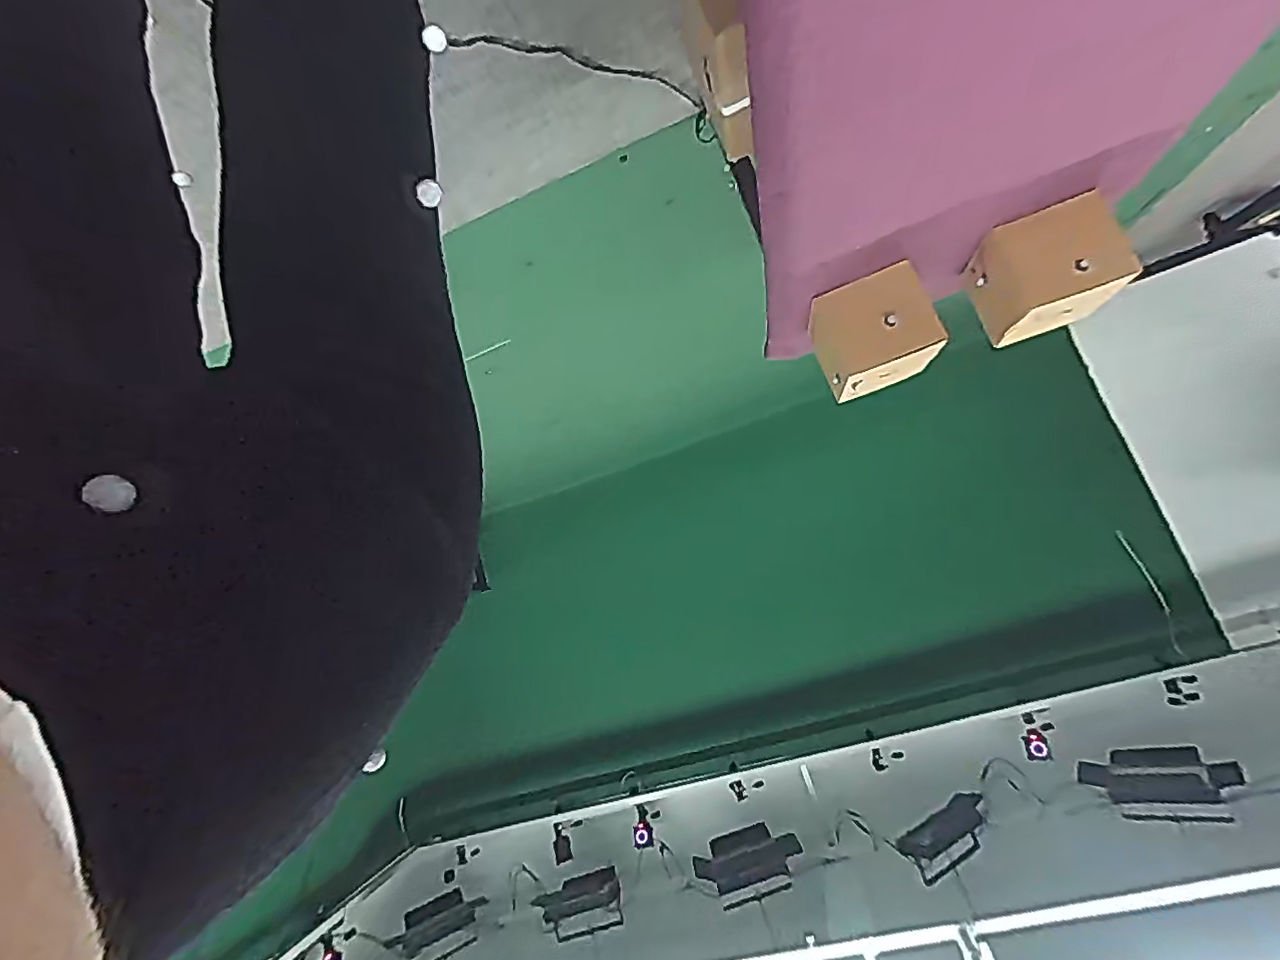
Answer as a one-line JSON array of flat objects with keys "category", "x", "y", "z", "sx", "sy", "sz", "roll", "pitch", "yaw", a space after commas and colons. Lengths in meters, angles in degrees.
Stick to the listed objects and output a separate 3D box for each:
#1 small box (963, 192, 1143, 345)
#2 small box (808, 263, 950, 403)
[{"category": "small box", "x": 0.735, "y": -0.381, "z": 0.986, "sx": 0.179, "sy": 0.176, "sz": 0.168, "roll": -19, "pitch": 165, "yaw": 10}, {"category": "small box", "x": 0.441, "y": -0.277, "z": 1.030, "sx": 0.179, "sy": 0.176, "sz": 0.168, "roll": -23, "pitch": 165, "yaw": 9}]
